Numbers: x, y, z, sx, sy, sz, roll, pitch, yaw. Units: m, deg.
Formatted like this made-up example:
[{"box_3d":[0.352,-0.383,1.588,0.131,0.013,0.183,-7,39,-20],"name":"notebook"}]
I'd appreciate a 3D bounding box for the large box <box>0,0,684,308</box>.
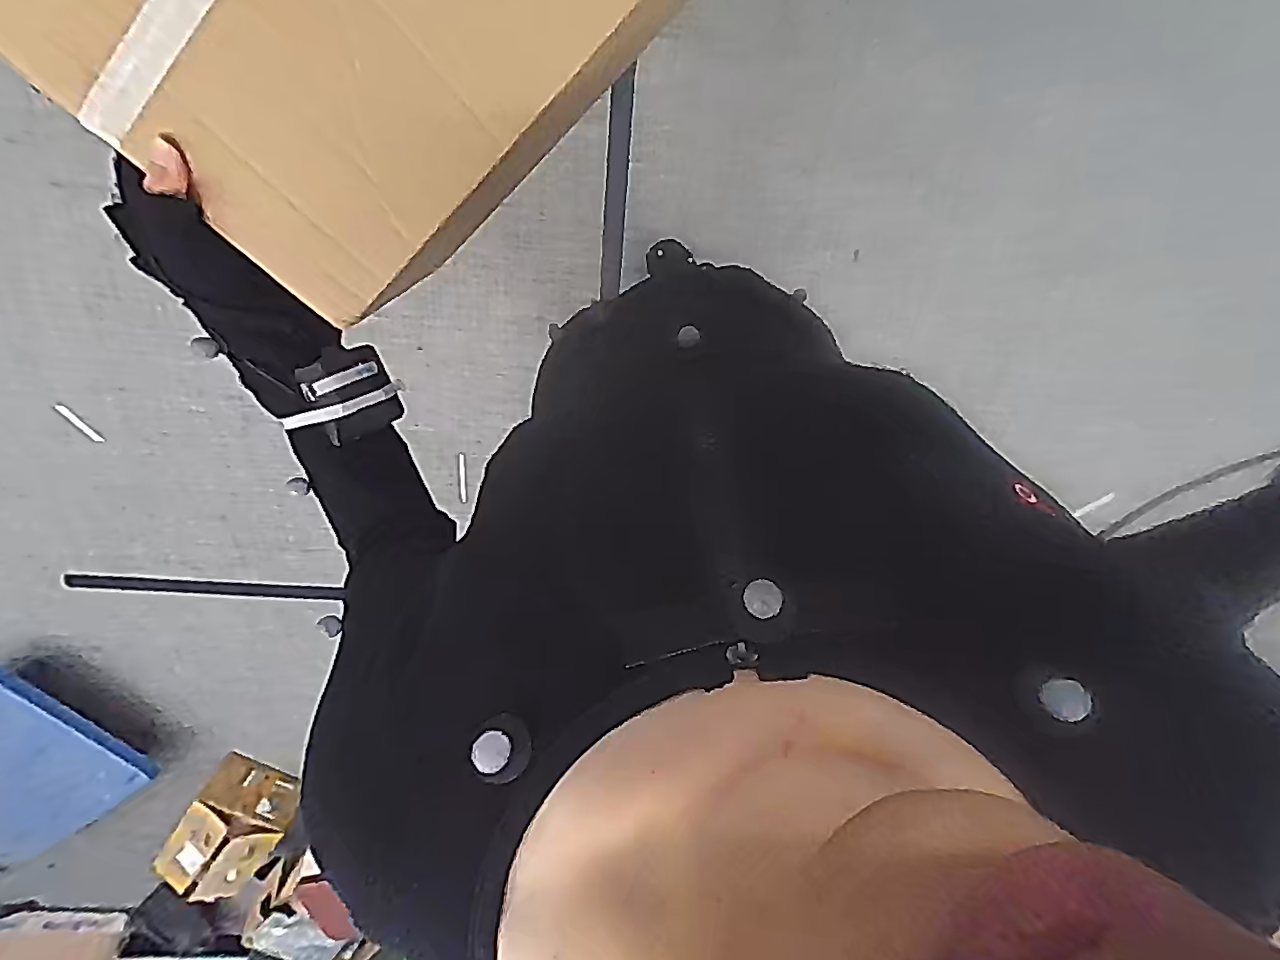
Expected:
[{"box_3d":[-0.172,-0.404,0.405,0.408,0.320,0.320,-40,116,14],"name":"large box"}]
